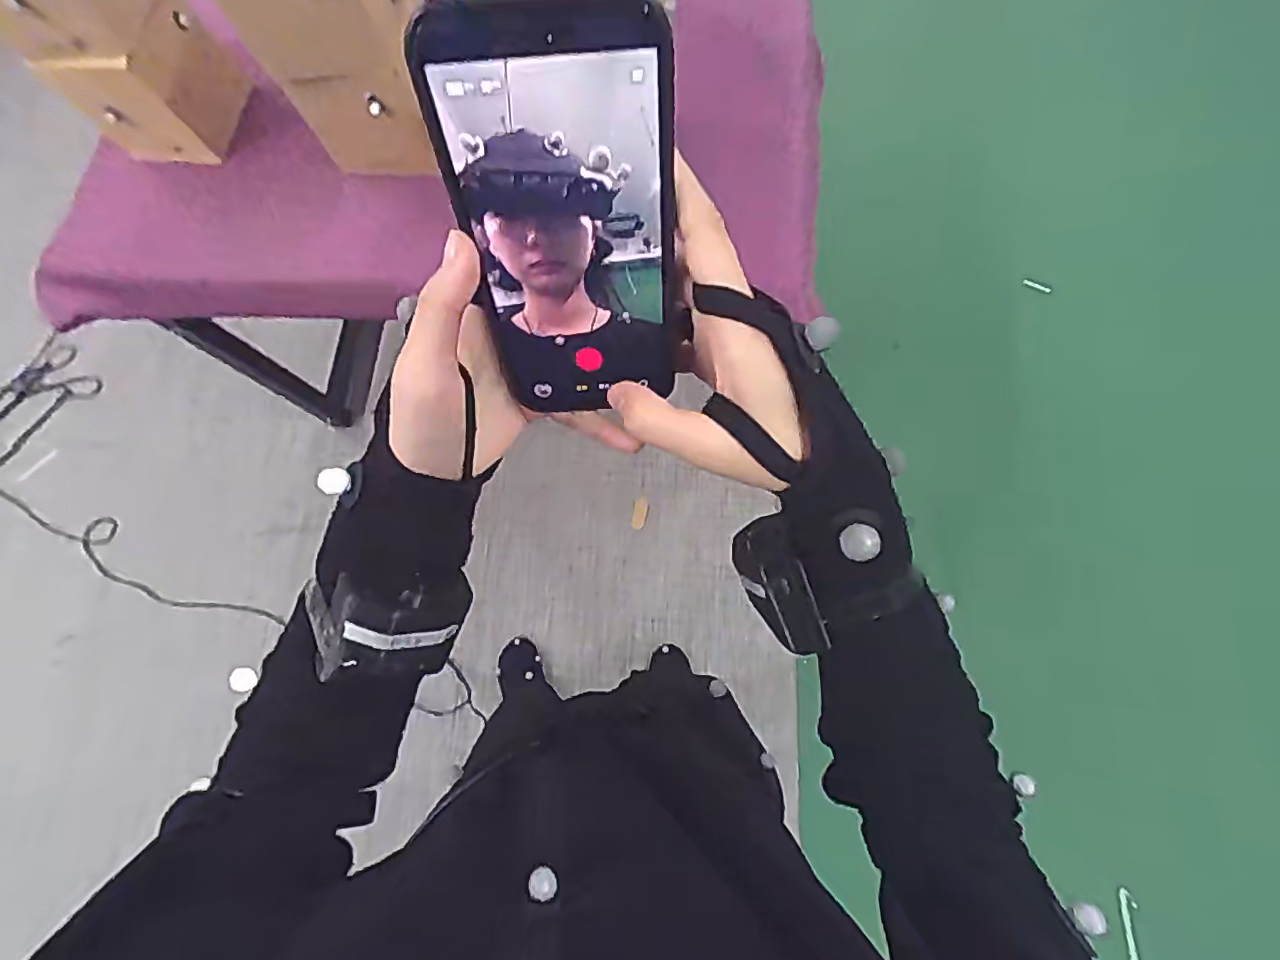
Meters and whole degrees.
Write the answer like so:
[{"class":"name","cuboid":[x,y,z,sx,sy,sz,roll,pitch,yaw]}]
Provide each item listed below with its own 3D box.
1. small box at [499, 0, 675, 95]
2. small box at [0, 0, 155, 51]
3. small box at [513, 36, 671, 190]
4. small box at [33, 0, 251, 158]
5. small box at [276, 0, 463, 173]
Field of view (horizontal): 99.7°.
[{"class":"small box","cuboid":[-0.060,-0.580,0.615,0.179,0.176,0.168,11,75,7]},{"class":"small box","cuboid":[-0.786,-0.703,0.709,0.168,0.176,0.179,1,75,4]},{"class":"small box","cuboid":[-0.055,-0.550,0.777,0.179,0.176,0.168,11,75,8]},{"class":"small box","cuboid":[-0.774,-0.649,0.864,0.168,0.176,0.179,6,74,6]},{"class":"small box","cuboid":[-0.390,-0.594,0.815,0.179,0.176,0.168,5,74,6]}]
